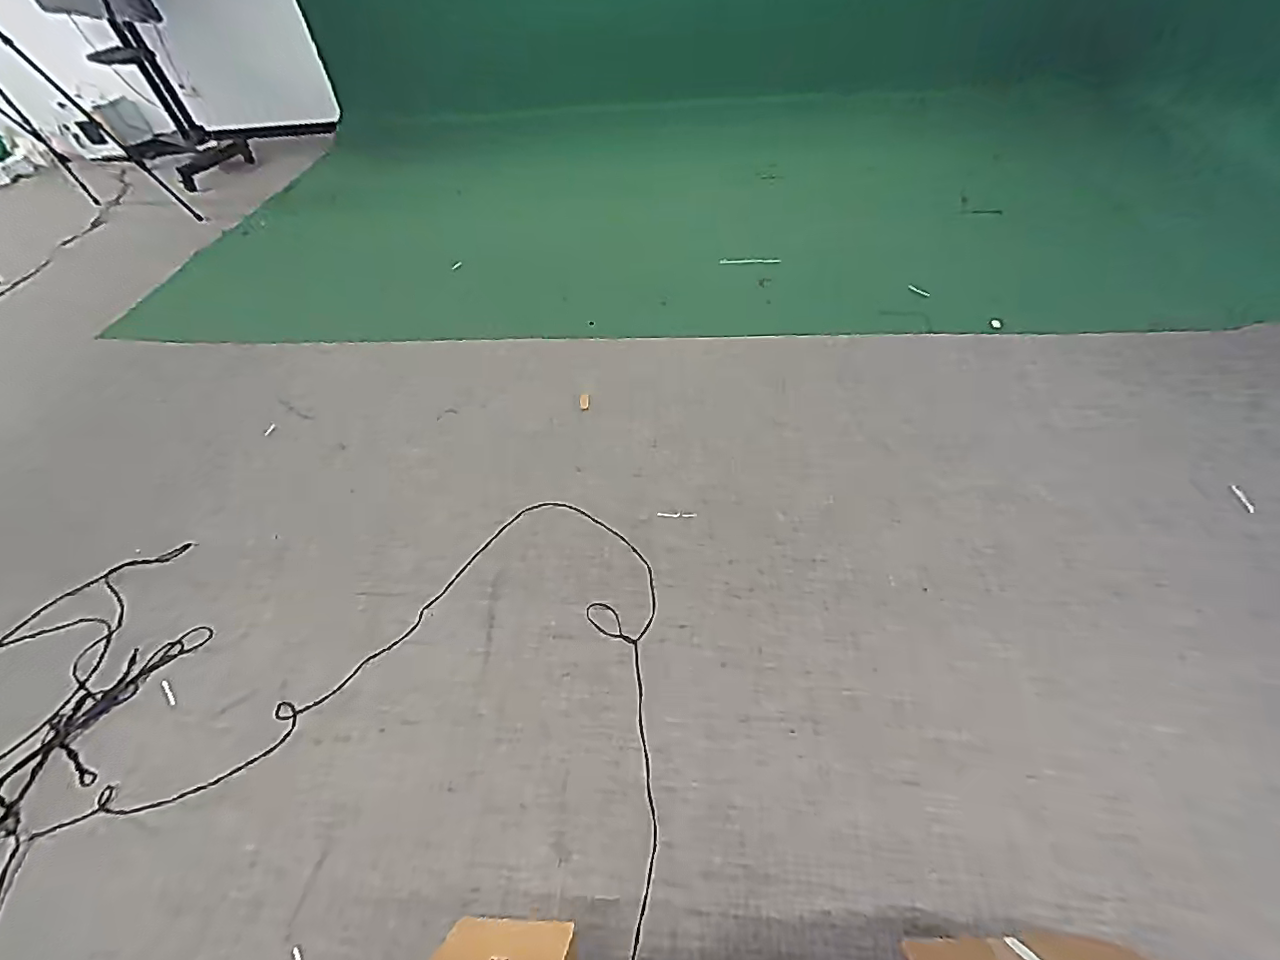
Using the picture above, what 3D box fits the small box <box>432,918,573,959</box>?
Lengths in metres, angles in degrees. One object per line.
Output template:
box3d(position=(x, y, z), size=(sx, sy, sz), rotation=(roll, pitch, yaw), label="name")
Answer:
box3d(position=(-0.180, 0.679, 0.649), size=(0.168, 0.179, 0.176), rotation=(-1, 83, 5), label="small box")
